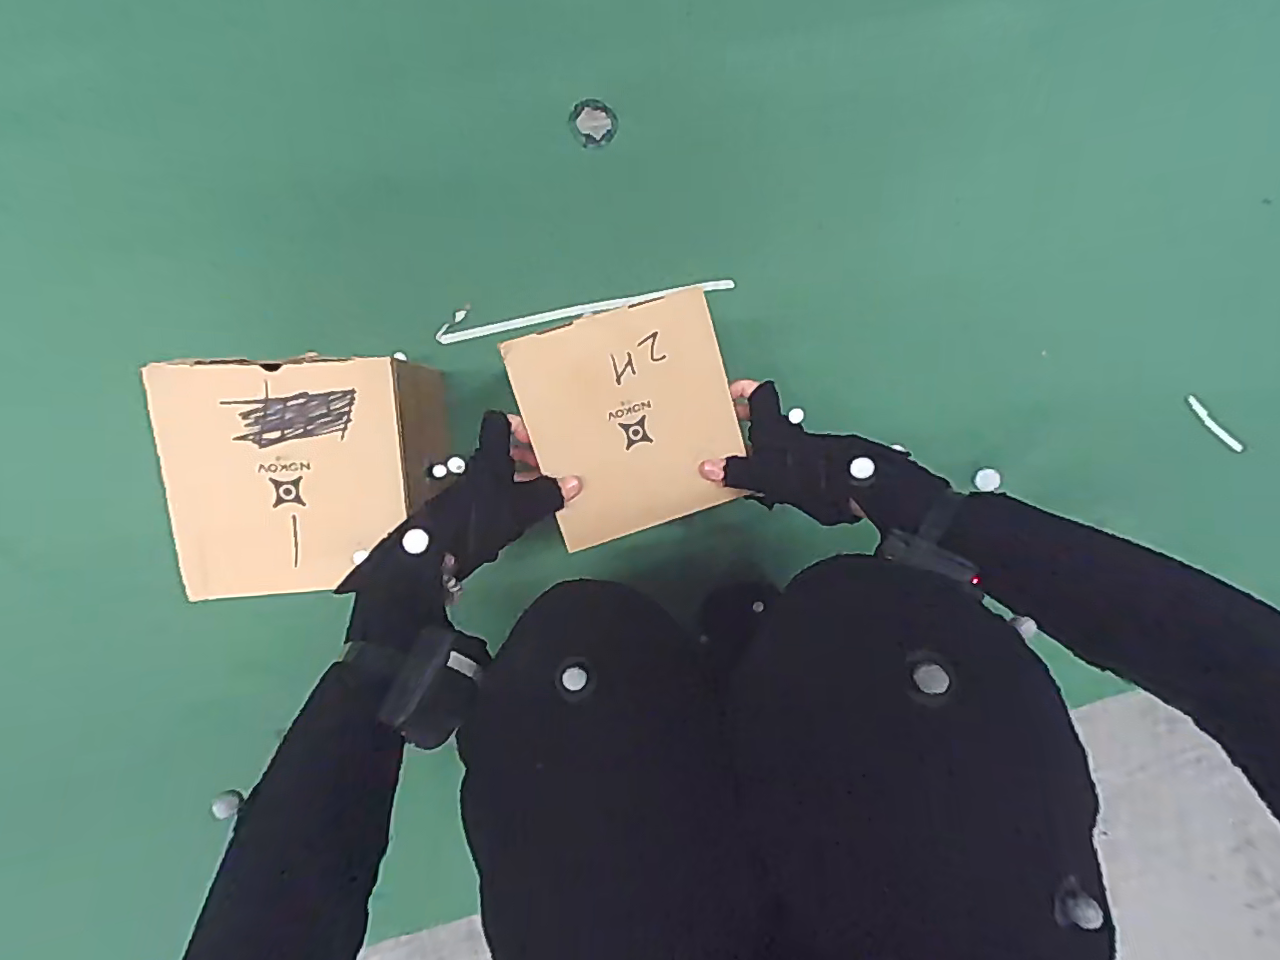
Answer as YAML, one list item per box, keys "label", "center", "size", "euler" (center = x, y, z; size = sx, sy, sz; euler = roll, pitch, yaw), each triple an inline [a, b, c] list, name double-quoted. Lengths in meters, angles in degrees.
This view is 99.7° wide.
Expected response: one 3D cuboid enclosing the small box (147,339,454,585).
- label: "small box"
  center: [-0.265, -0.023, 0.469]
  size: [0.168, 0.176, 0.179]
  euler: [-3, 99, -8]
